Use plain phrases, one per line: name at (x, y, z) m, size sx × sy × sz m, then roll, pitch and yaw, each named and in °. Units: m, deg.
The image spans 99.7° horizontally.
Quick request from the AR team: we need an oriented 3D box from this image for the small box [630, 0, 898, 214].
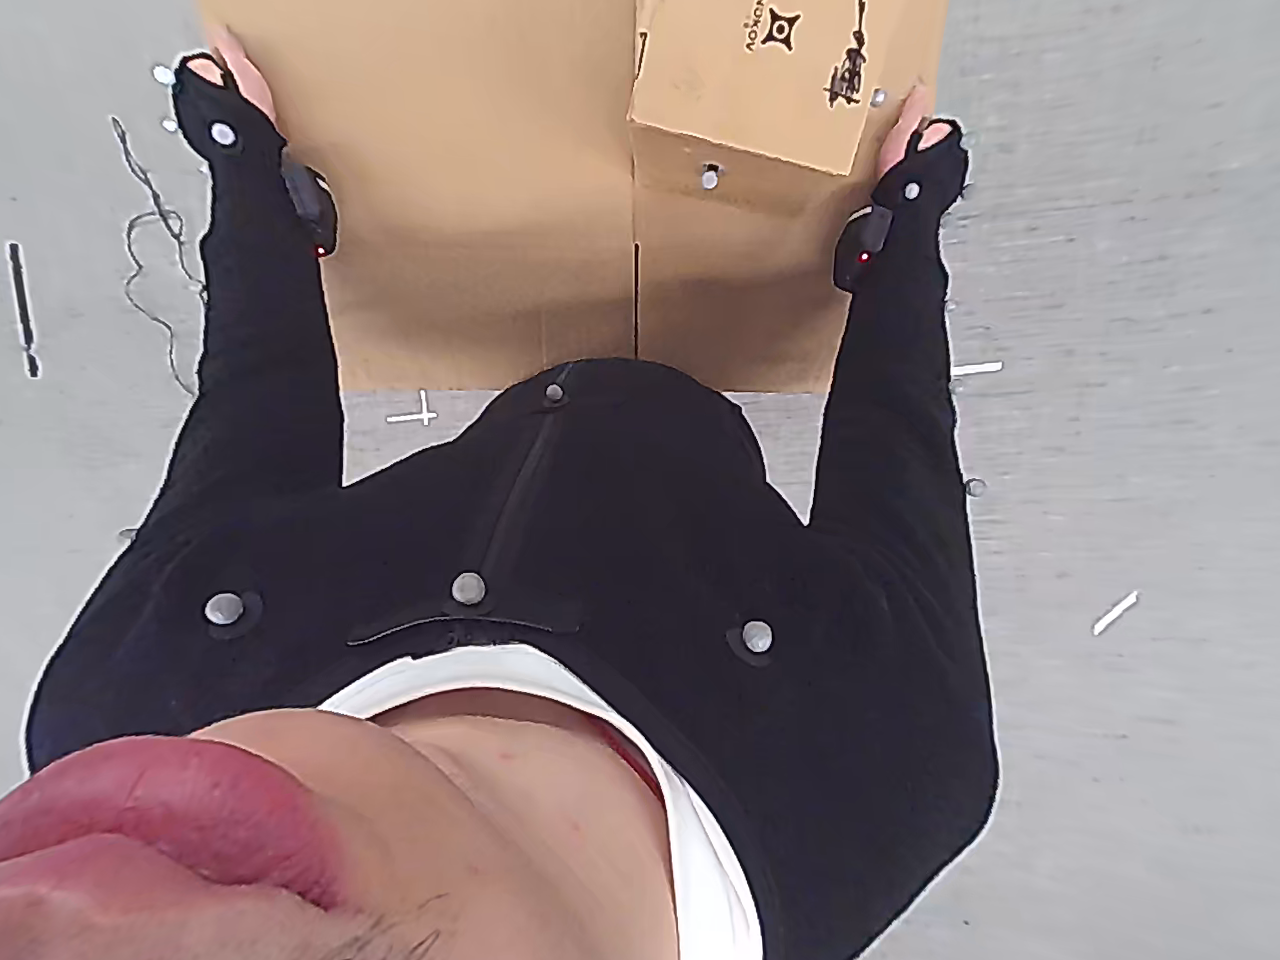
small box at (0.100, -0.353, 0.476) m, size 0.179 × 0.176 × 0.168 m, roll 14°, pitch 105°, yaw 1°
